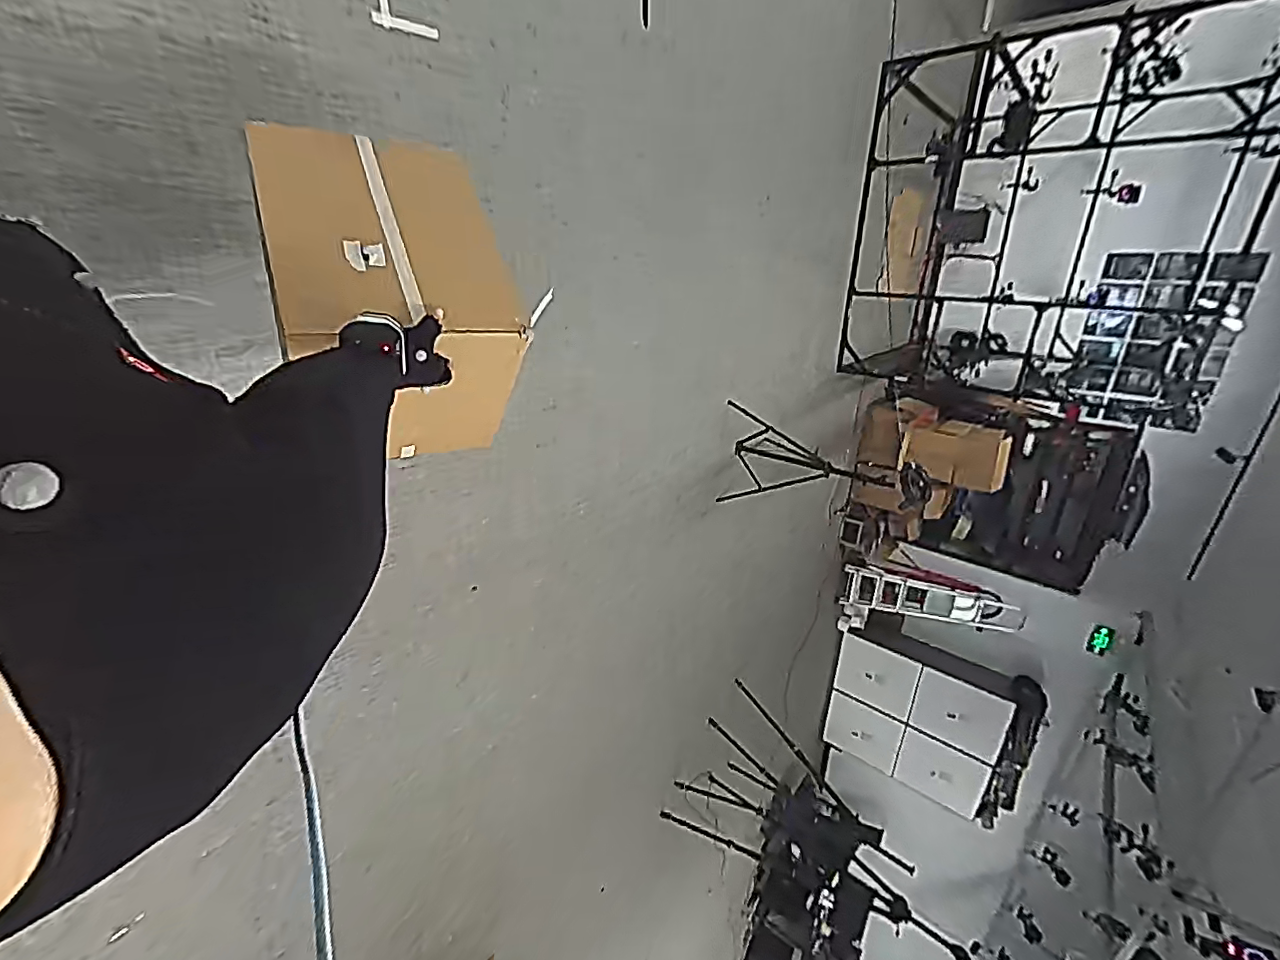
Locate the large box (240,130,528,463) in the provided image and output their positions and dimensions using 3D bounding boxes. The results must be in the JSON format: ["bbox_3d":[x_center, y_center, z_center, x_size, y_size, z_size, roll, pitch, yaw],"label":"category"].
[{"bbox_3d":[-0.435,-0.291,0.914,0.320,0.408,0.320,-12,158,-32],"label":"large box"}]
